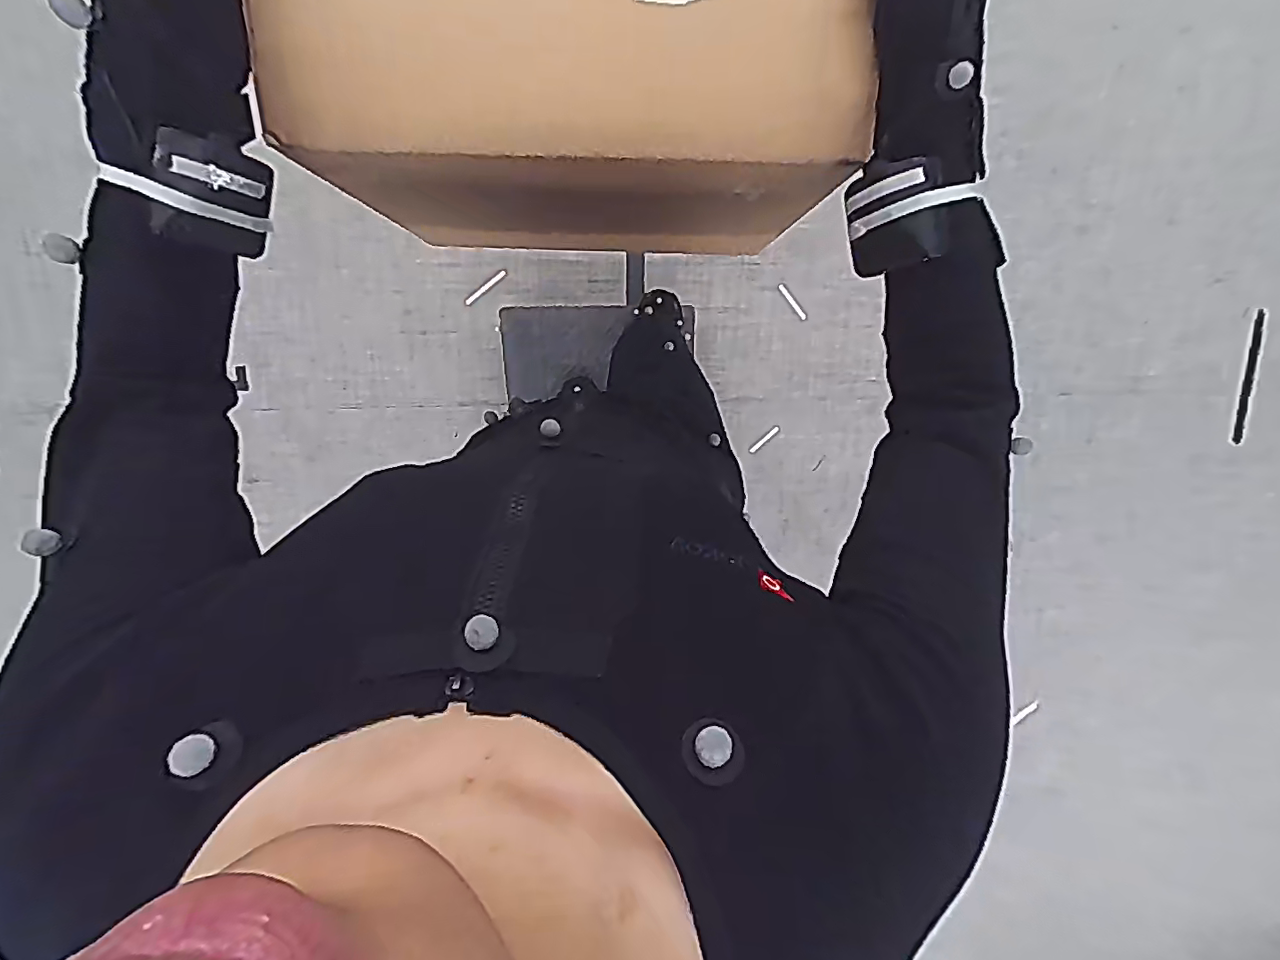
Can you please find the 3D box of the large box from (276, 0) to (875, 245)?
[{"bbox_3d":[-0.046,-0.411,0.490,0.408,0.320,0.320,0,102,-3],"label":"large box"}]
